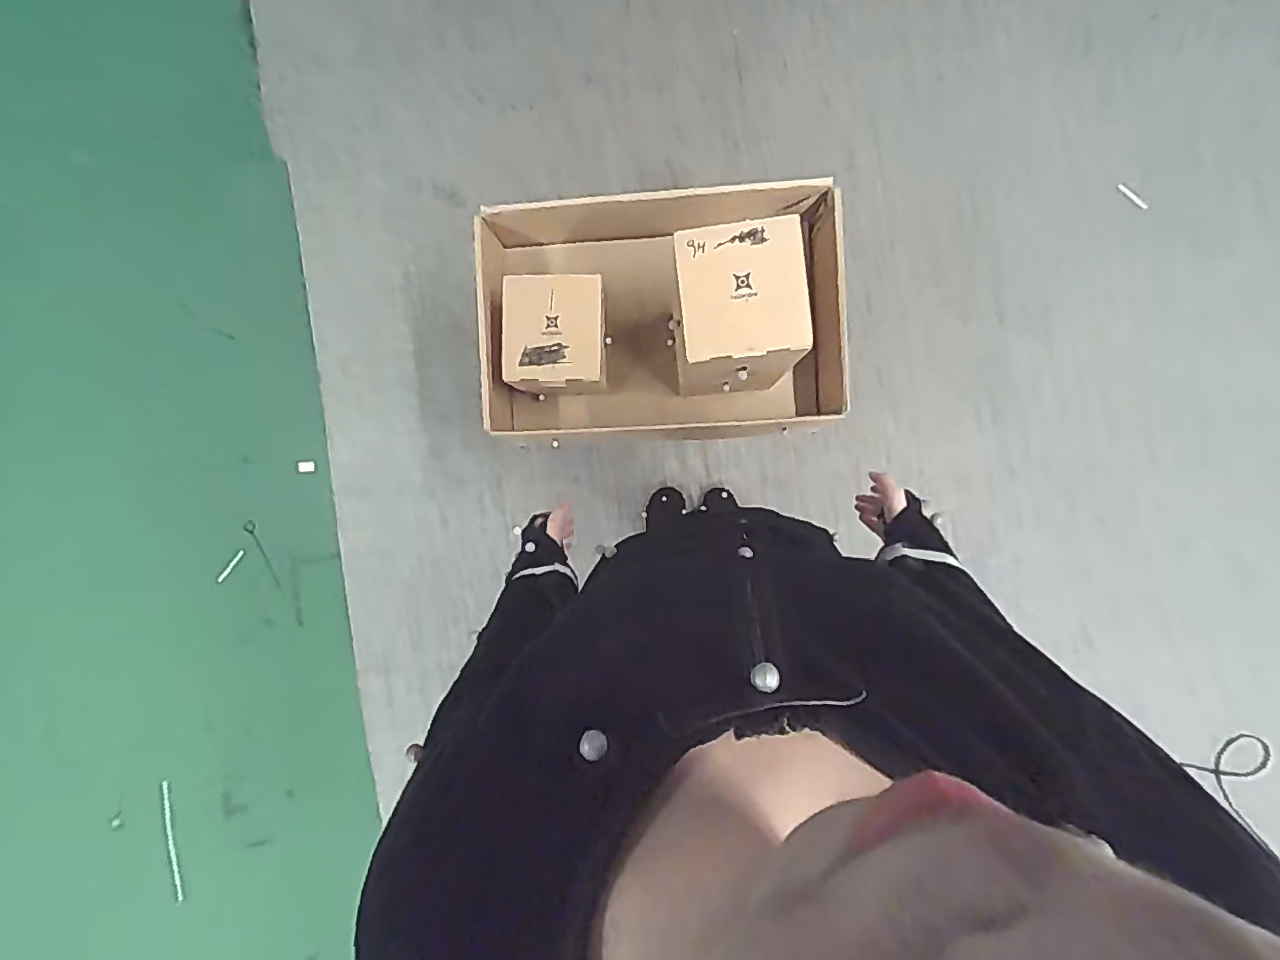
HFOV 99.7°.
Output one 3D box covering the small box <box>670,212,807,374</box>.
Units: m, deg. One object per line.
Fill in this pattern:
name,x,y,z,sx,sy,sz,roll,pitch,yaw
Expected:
small box,0.135,-0.254,0.782,0.168,0.176,0.179,-6,91,4
